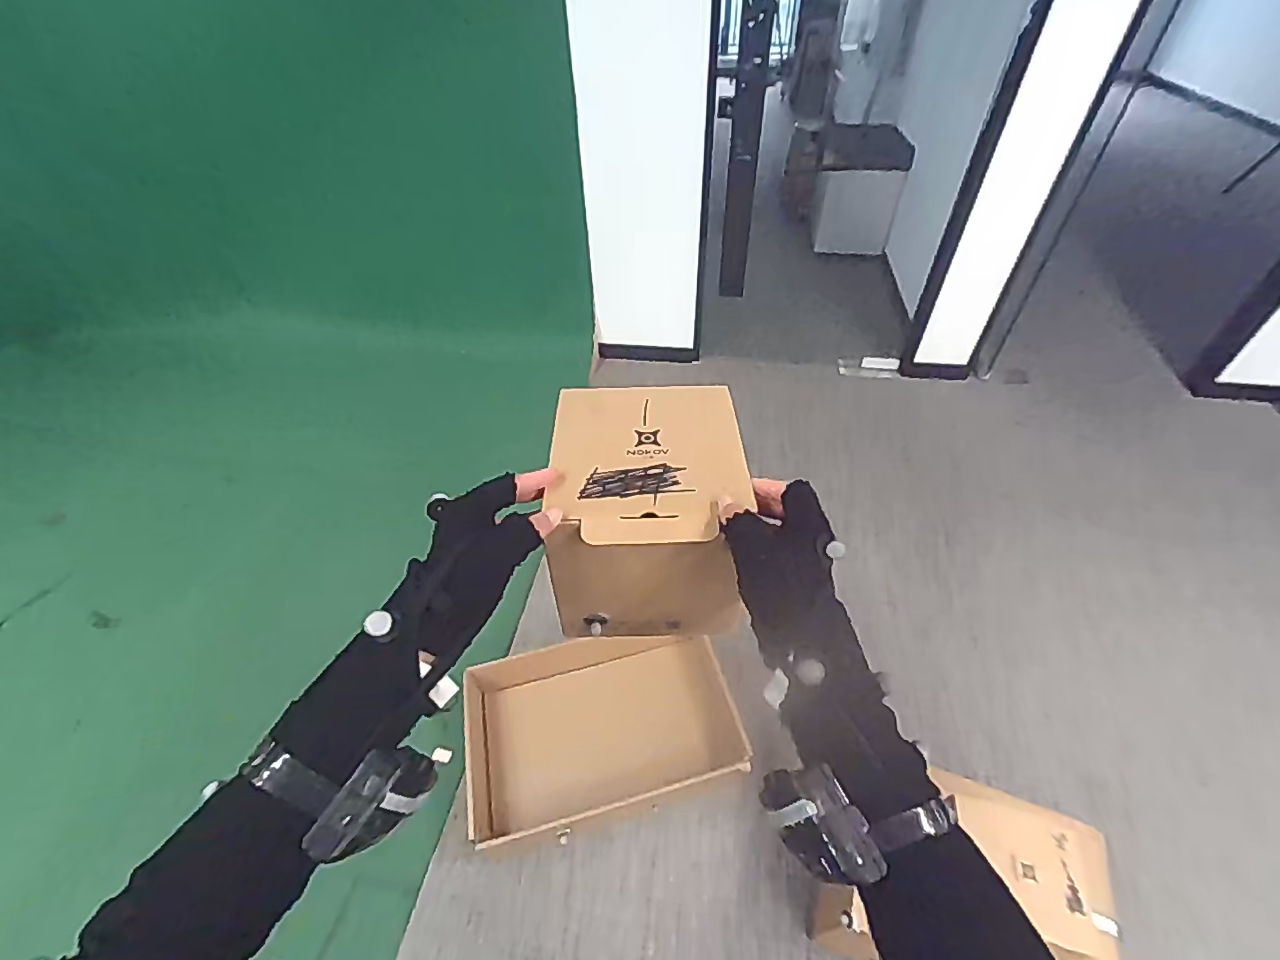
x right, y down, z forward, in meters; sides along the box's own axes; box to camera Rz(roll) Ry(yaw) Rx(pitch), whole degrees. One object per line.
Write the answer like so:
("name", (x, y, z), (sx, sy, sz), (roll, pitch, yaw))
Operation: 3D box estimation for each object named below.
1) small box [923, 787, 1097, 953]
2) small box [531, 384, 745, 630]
("small box", (0.570, 0.627, 0.867), (0.179, 0.176, 0.168), (10, 48, 13))
("small box", (0.001, 0.026, 0.517), (0.168, 0.176, 0.179), (1, 41, 0))
